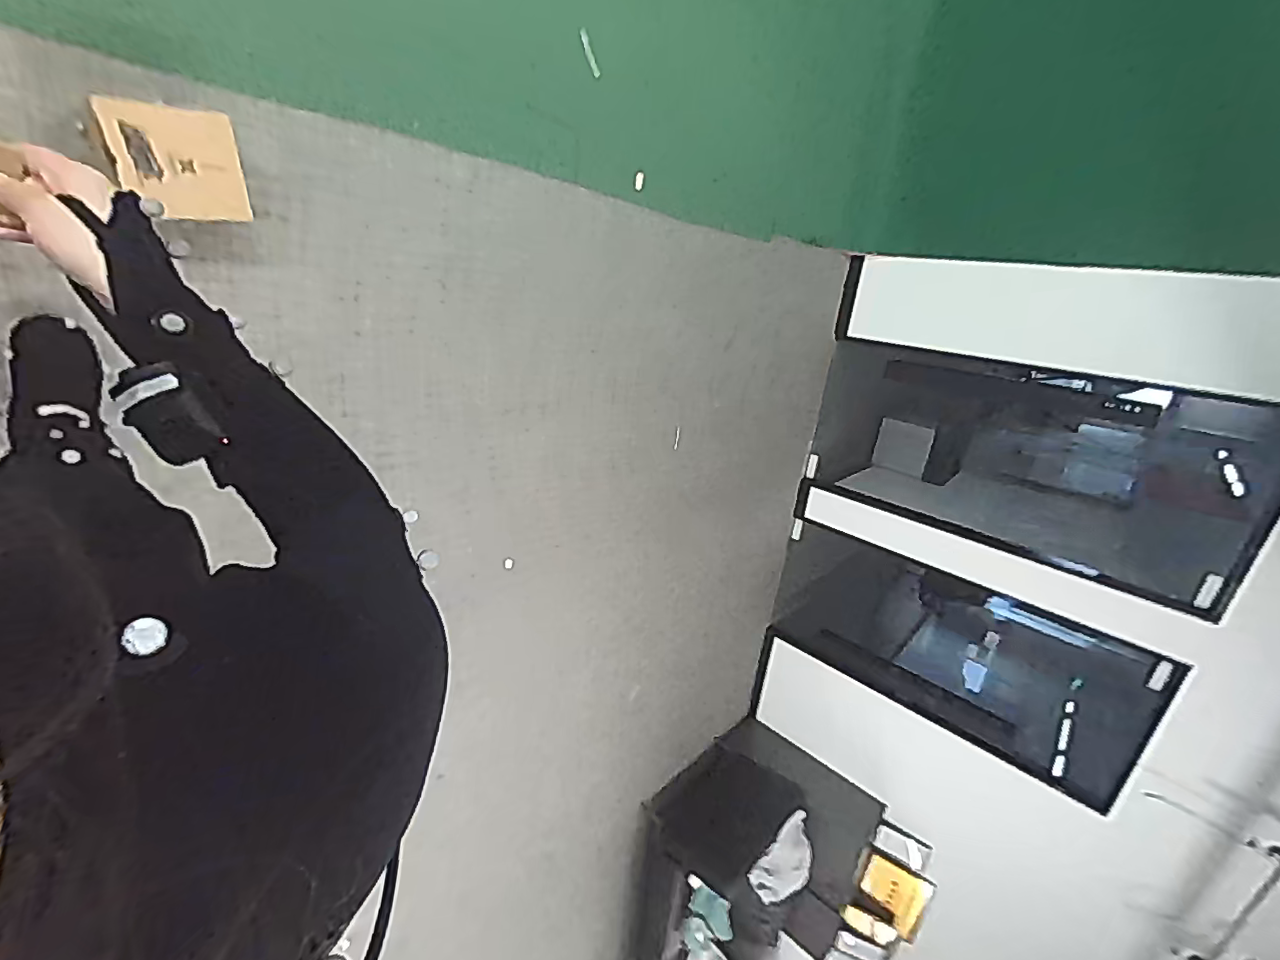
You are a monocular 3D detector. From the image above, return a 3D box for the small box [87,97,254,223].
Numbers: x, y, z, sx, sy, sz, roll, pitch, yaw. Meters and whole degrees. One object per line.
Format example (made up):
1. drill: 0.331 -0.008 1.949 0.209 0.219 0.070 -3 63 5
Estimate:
1. small box: -0.810 -0.539 0.934 0.179 0.176 0.168 -24 126 -43
